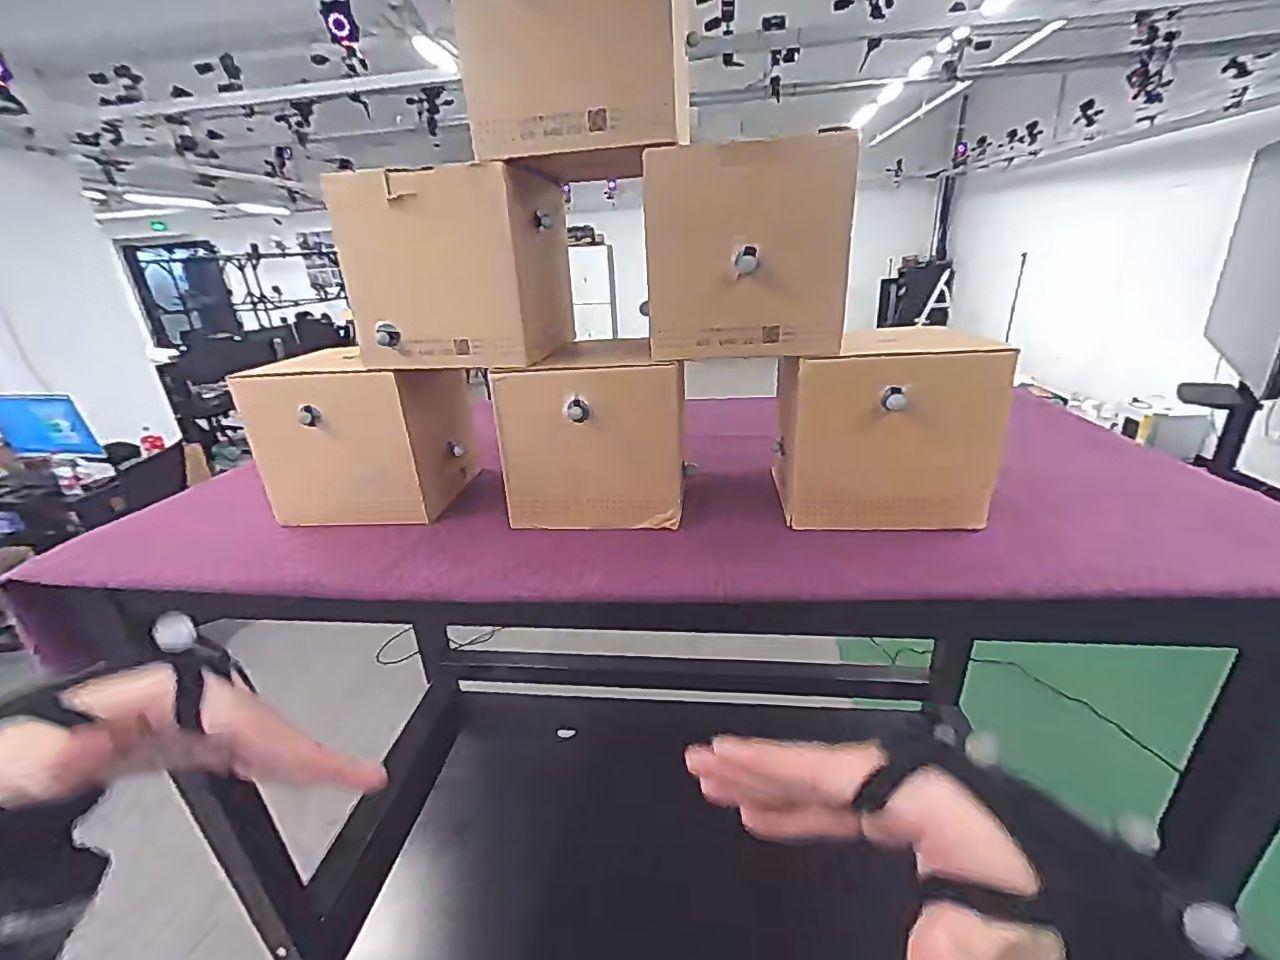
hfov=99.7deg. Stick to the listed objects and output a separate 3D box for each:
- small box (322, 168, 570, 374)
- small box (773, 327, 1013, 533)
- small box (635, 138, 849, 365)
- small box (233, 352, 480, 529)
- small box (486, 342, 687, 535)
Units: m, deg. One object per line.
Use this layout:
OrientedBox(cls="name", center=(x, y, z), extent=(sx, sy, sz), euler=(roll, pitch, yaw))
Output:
OrientedBox(cls="small box", center=(-0.174, -0.205, 0.552), extent=(0.168, 0.176, 0.179), euler=(1, 22, 9))
OrientedBox(cls="small box", center=(0.234, -0.054, 0.553), extent=(0.179, 0.176, 0.168), euler=(-2, 22, 8))
OrientedBox(cls="small box", center=(0.092, -0.207, 0.517), extent=(0.168, 0.176, 0.179), euler=(-1, 23, 7))
OrientedBox(cls="small box", center=(-0.307, -0.051, 0.628), extent=(0.179, 0.176, 0.168), euler=(-1, 24, 6))
OrientedBox(cls="small box", center=(-0.043, -0.049, 0.586), extent=(0.179, 0.176, 0.168), euler=(0, 23, 7))
